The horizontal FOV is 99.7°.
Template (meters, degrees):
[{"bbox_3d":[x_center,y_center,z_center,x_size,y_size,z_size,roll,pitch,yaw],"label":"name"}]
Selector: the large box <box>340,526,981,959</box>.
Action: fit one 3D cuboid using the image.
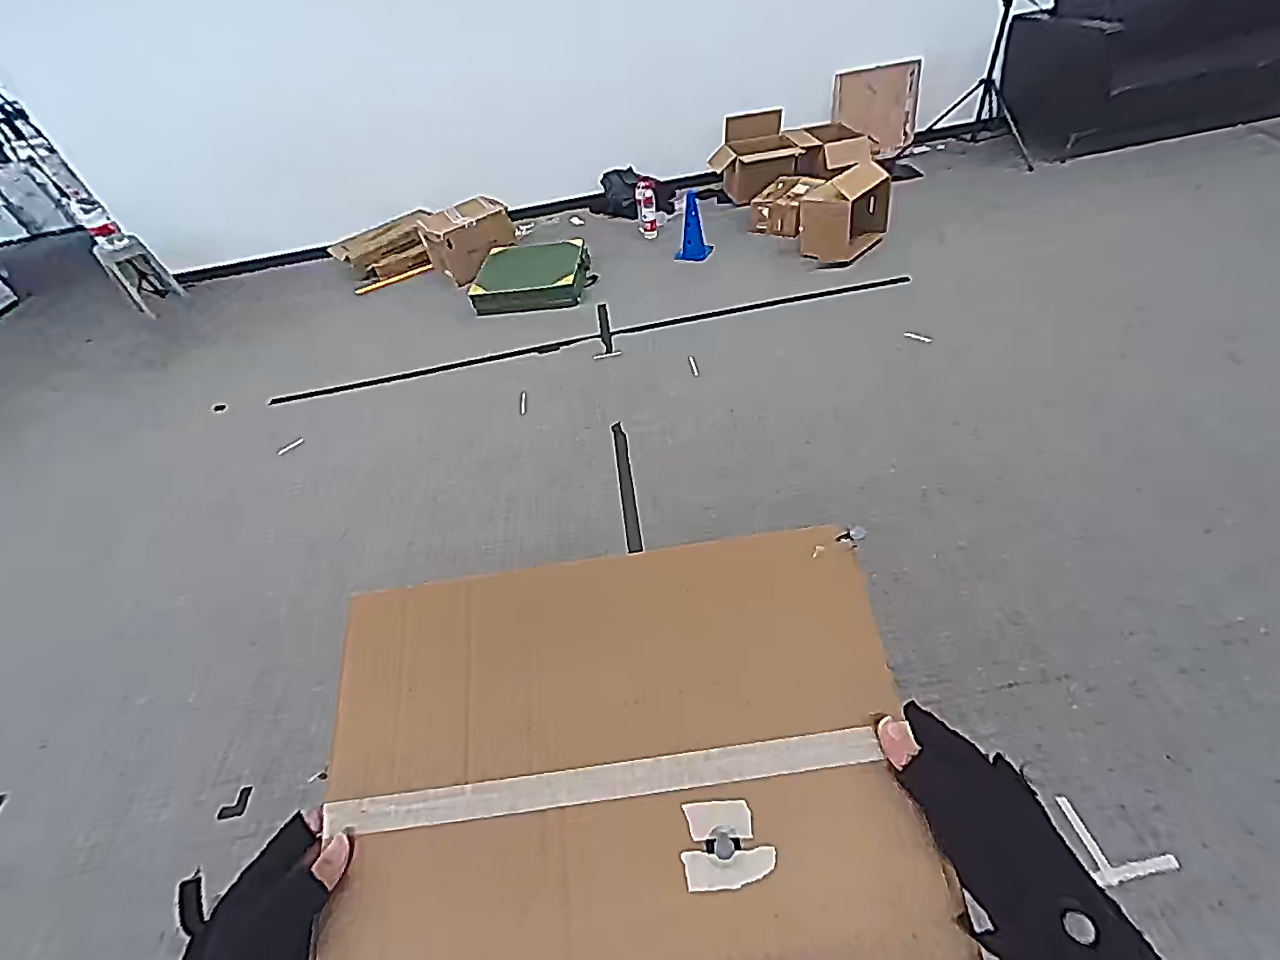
[{"bbox_3d":[0.001,0.270,0.517,0.408,0.320,0.320,-9,65,1],"label":"large box"}]
